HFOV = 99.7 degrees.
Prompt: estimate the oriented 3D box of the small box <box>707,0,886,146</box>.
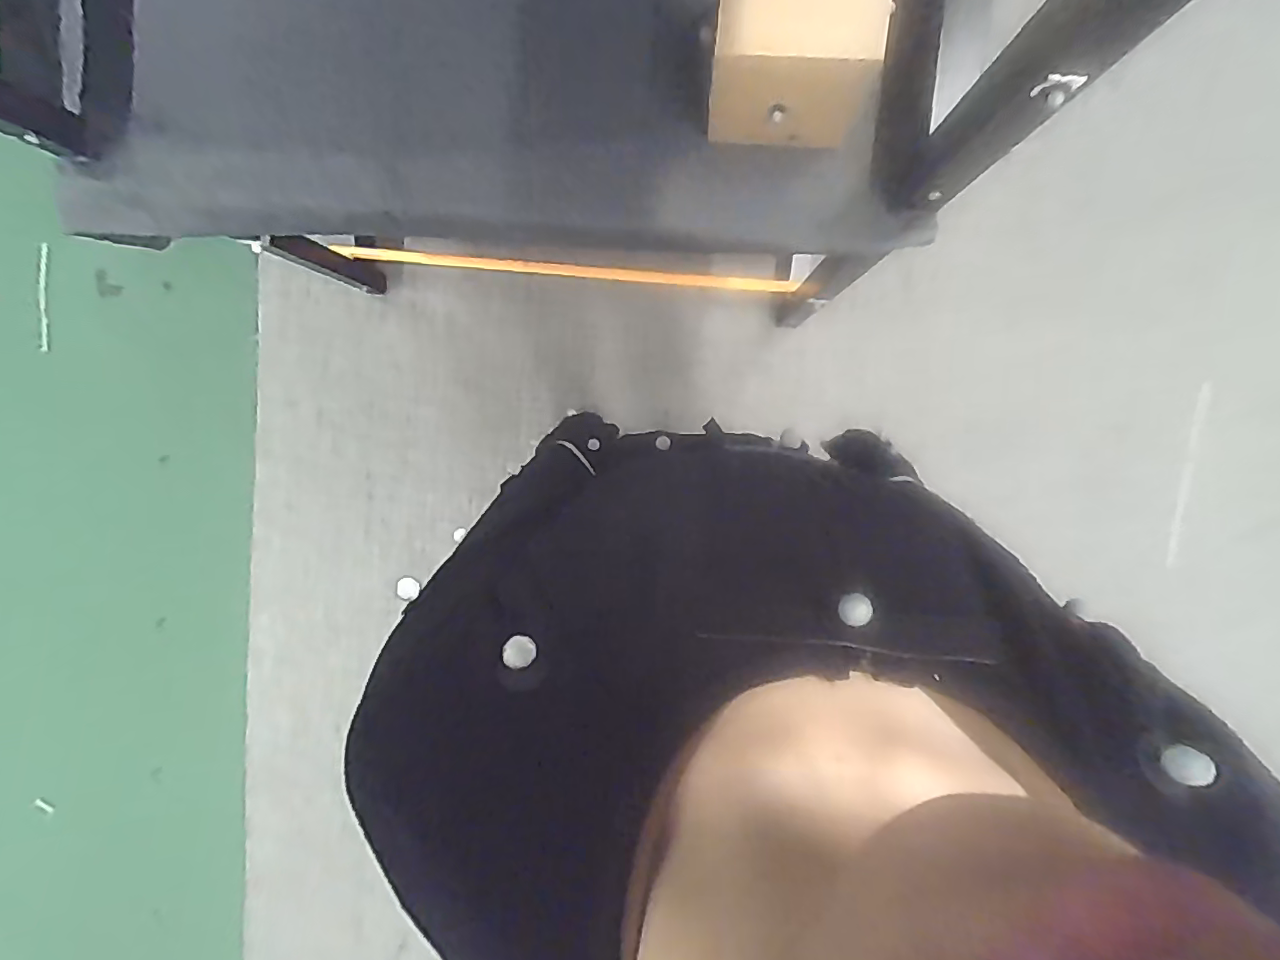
[{"bbox_3d":[0.167,-0.506,0.605,0.168,0.176,0.179,6,95,3],"label":"small box"}]
